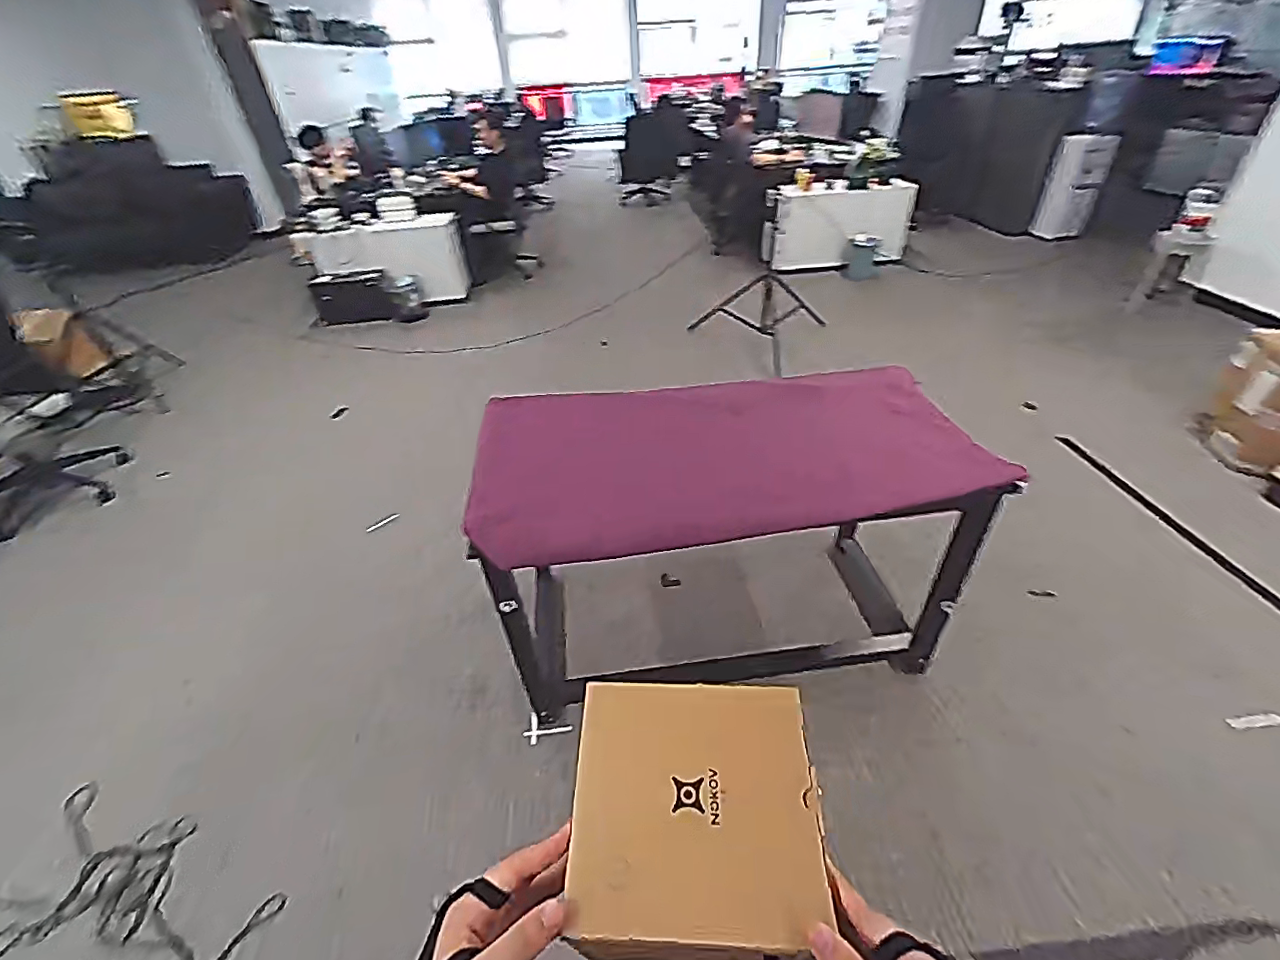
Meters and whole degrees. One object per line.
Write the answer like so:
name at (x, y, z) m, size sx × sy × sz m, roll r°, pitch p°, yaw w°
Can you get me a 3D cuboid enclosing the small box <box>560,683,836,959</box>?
small box at (0.042, 0.286, 0.447) m, size 0.179 × 0.176 × 0.168 m, roll 0°, pitch 44°, yaw 3°
